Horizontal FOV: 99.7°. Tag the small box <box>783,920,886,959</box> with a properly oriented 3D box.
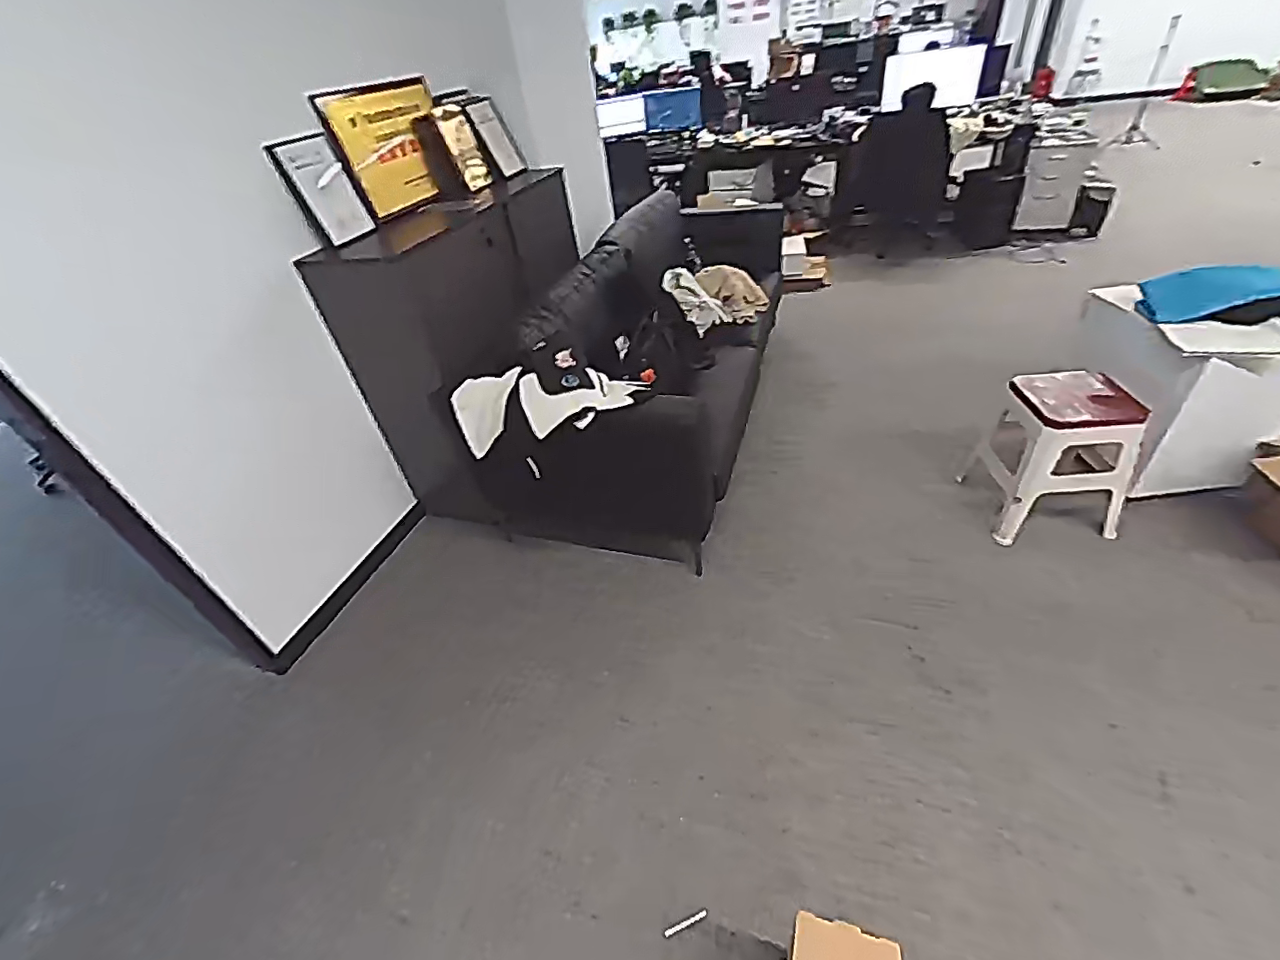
[{"bbox_3d":[0.352,0.972,1.008,0.179,0.176,0.168,7,42,19],"label":"small box"}]
